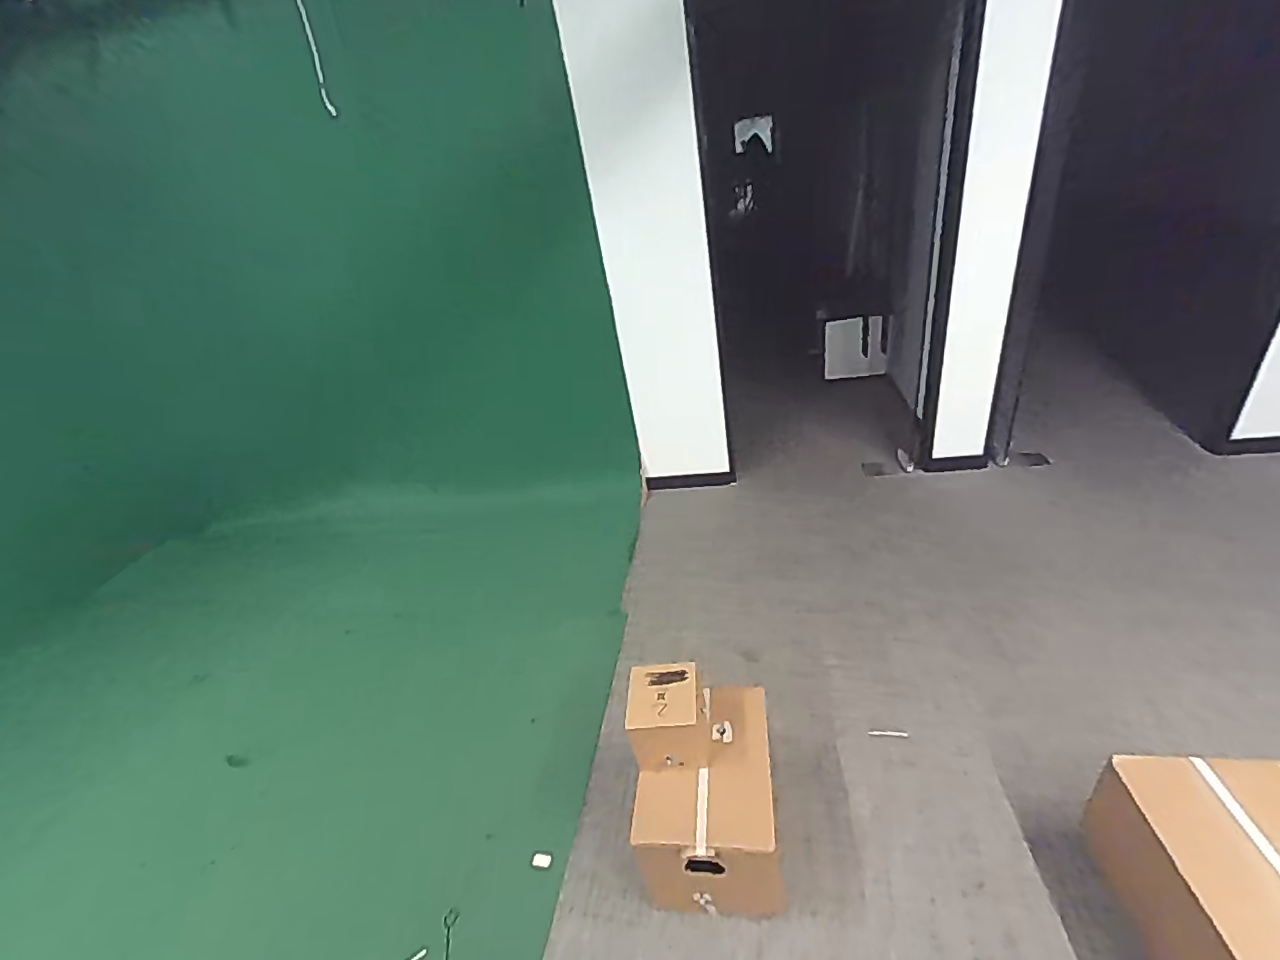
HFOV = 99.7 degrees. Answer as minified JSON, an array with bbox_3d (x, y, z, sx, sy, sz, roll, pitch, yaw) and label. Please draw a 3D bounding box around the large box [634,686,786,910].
[{"bbox_3d":[0.186,0.796,1.382,0.320,0.320,0.408,-5,30,12],"label":"large box"}]
